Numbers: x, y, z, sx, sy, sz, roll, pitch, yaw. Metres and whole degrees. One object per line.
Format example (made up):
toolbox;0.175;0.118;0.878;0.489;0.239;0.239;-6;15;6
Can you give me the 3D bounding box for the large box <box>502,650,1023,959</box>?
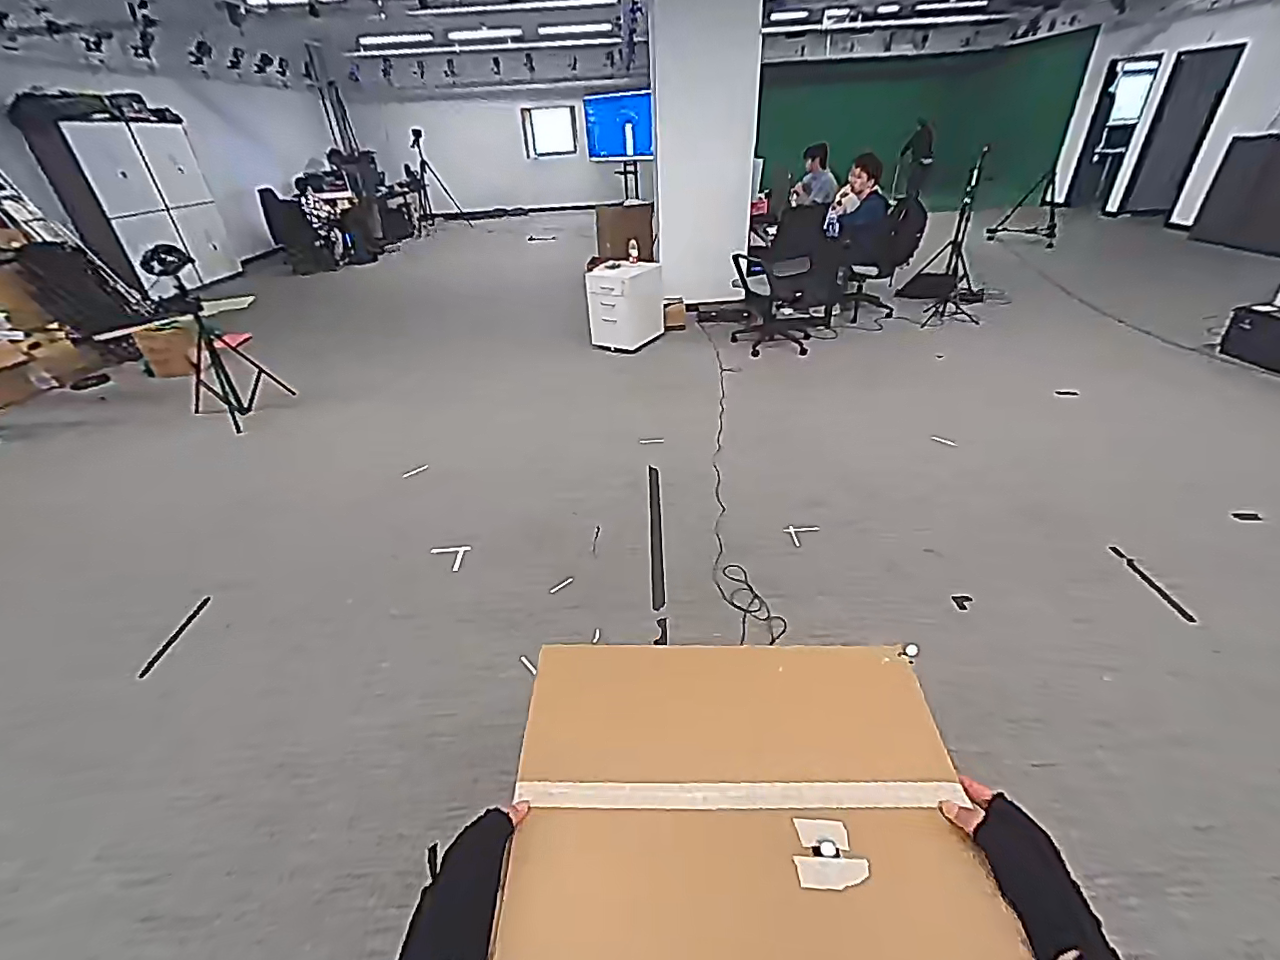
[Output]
large box;0.093;0.407;0.593;0.408;0.320;0.320;0;40;1
